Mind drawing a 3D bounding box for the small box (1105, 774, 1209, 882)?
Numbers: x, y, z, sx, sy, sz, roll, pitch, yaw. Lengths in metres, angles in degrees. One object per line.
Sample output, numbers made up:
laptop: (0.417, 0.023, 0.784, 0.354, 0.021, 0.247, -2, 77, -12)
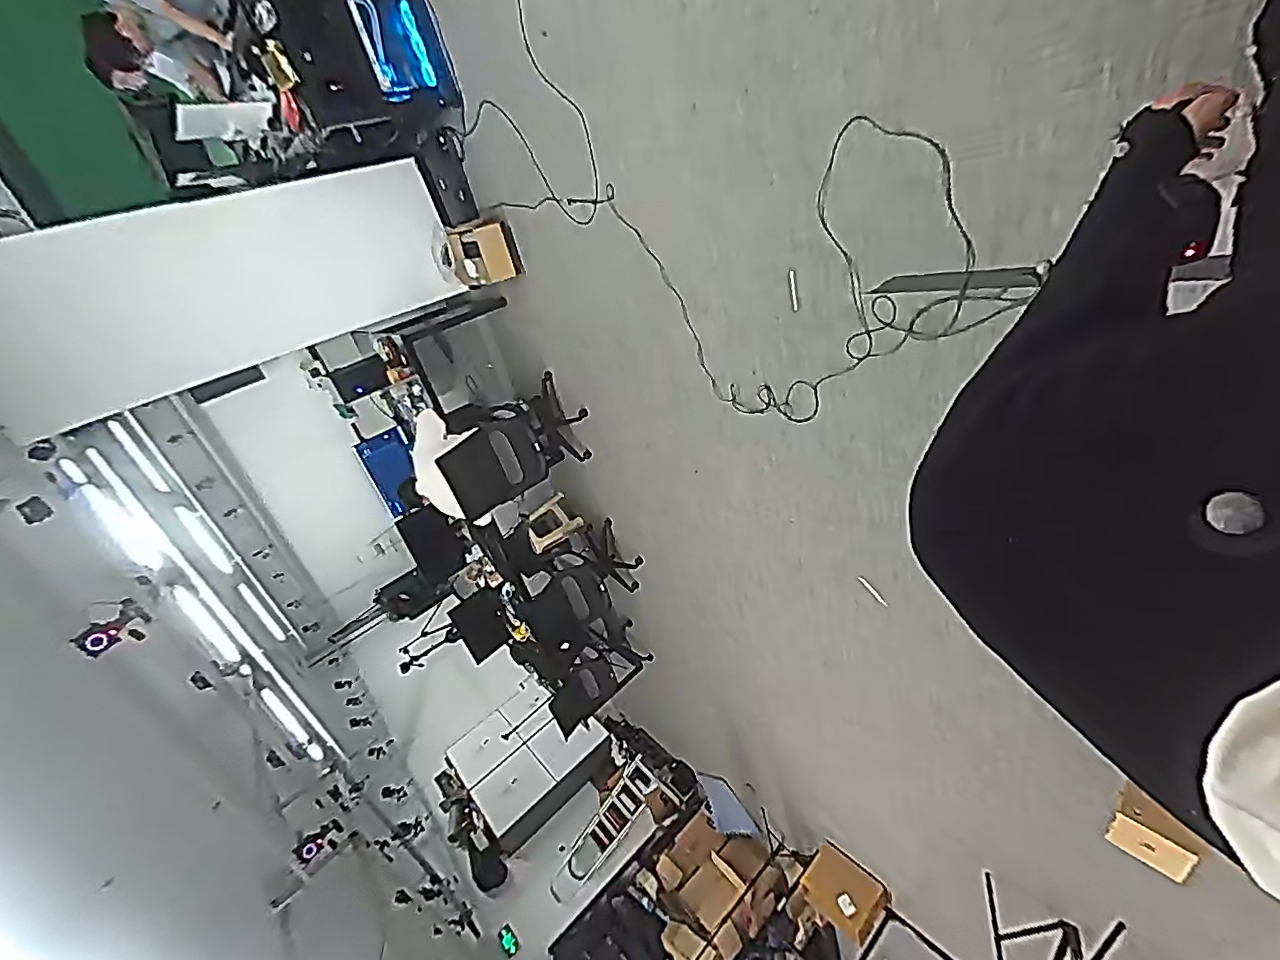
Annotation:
small box: (1.529, 1.021, 1.599, 0.179, 0.176, 0.168, 24, 138, 45)
